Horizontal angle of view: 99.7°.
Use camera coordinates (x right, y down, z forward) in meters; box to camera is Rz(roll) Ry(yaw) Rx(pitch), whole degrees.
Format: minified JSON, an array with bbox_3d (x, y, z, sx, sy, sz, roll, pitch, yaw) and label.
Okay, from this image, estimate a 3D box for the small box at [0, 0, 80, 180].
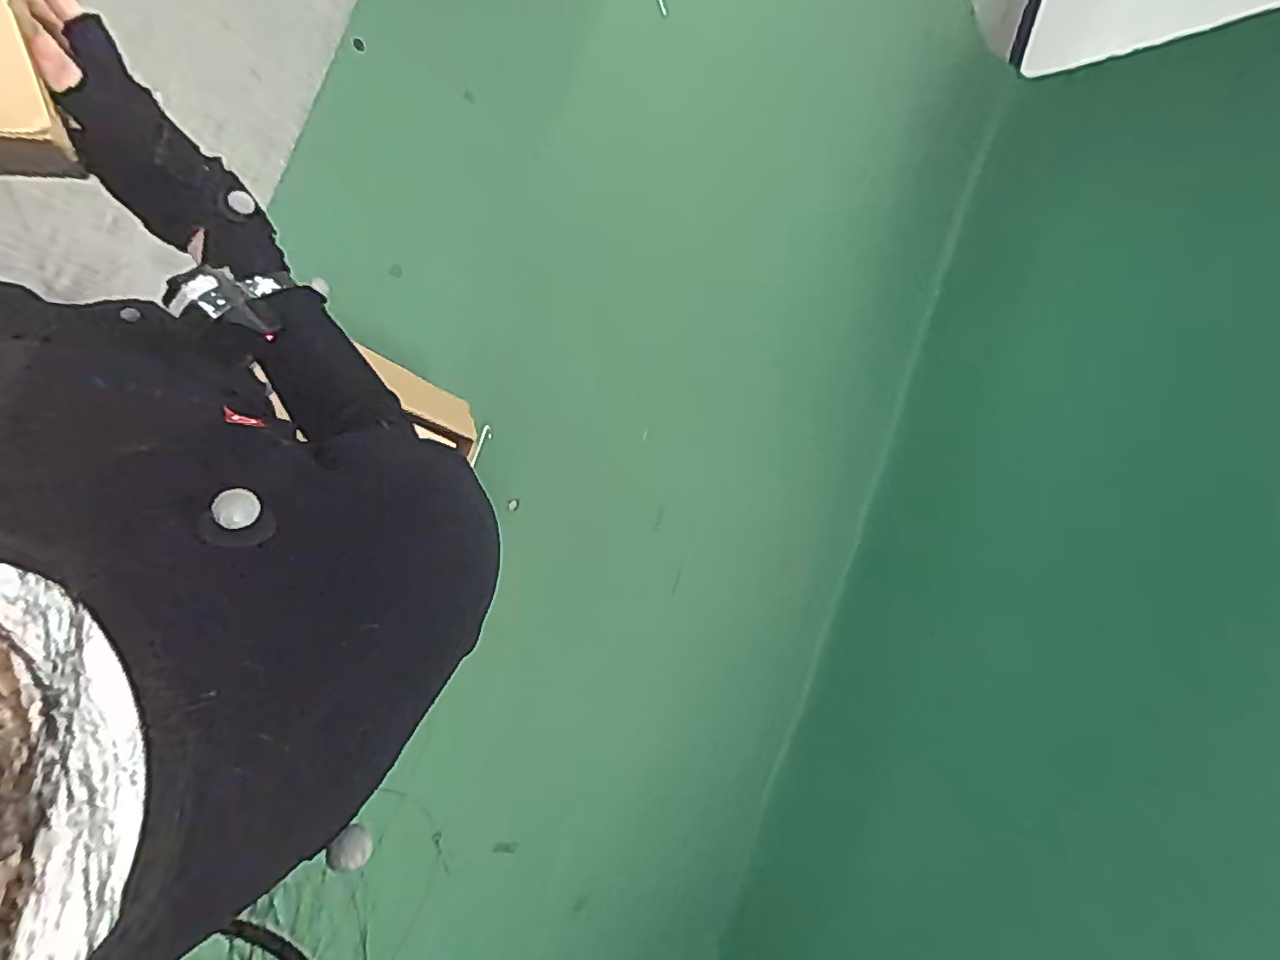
[{"bbox_3d":[-0.439,-0.270,0.279,0.168,0.176,0.179,-19,117,-36],"label":"small box"}]
